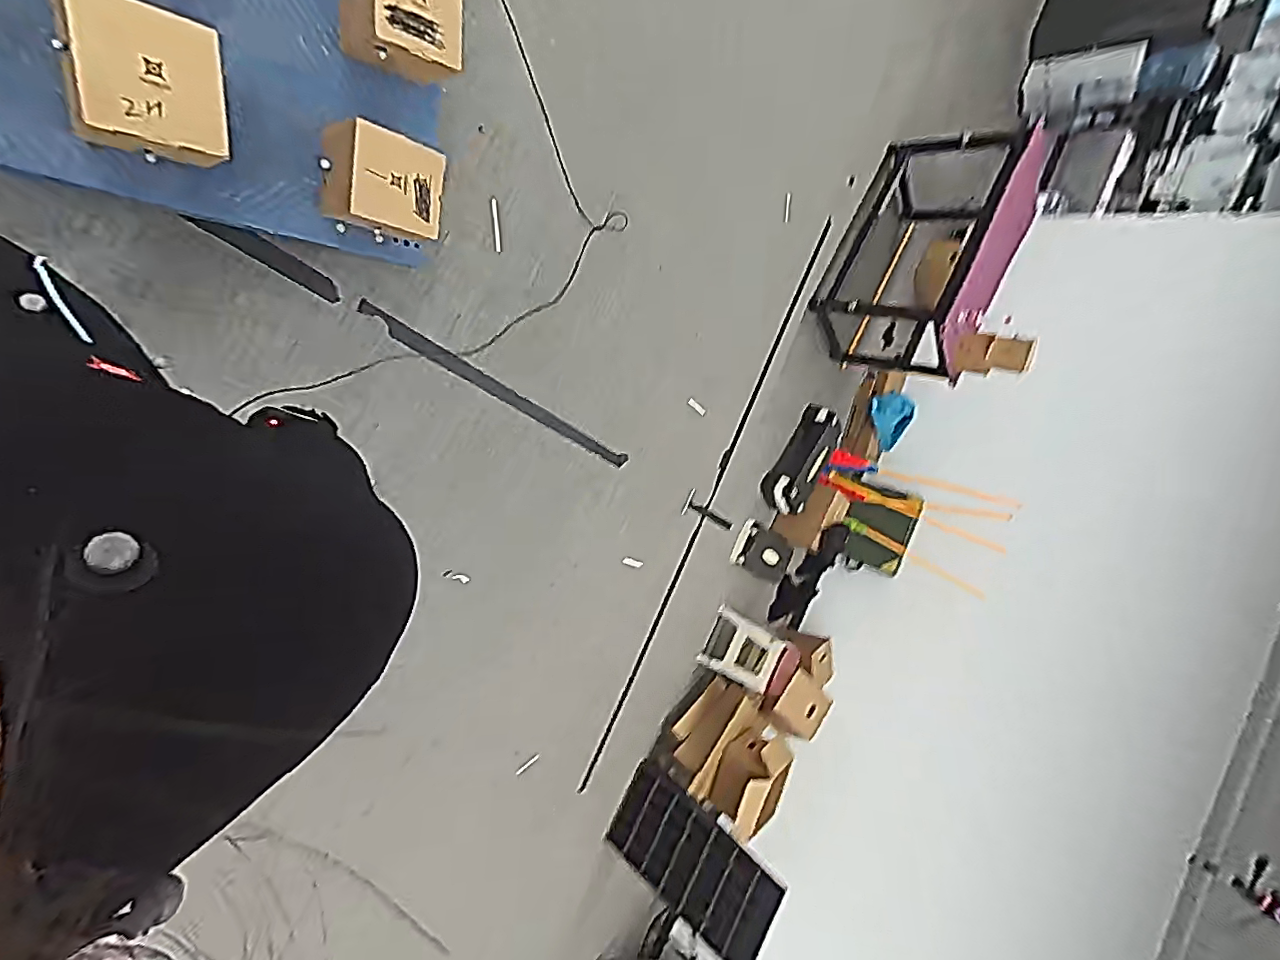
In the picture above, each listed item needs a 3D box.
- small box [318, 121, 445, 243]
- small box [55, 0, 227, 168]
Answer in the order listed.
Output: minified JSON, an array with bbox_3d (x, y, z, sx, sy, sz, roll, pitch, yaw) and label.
[{"bbox_3d":[-0.526,-0.595,1.098,0.179,0.176,0.168,-3,109,-48],"label":"small box"},{"bbox_3d":[-0.758,-0.600,0.824,0.168,0.176,0.179,-11,115,-46],"label":"small box"}]
